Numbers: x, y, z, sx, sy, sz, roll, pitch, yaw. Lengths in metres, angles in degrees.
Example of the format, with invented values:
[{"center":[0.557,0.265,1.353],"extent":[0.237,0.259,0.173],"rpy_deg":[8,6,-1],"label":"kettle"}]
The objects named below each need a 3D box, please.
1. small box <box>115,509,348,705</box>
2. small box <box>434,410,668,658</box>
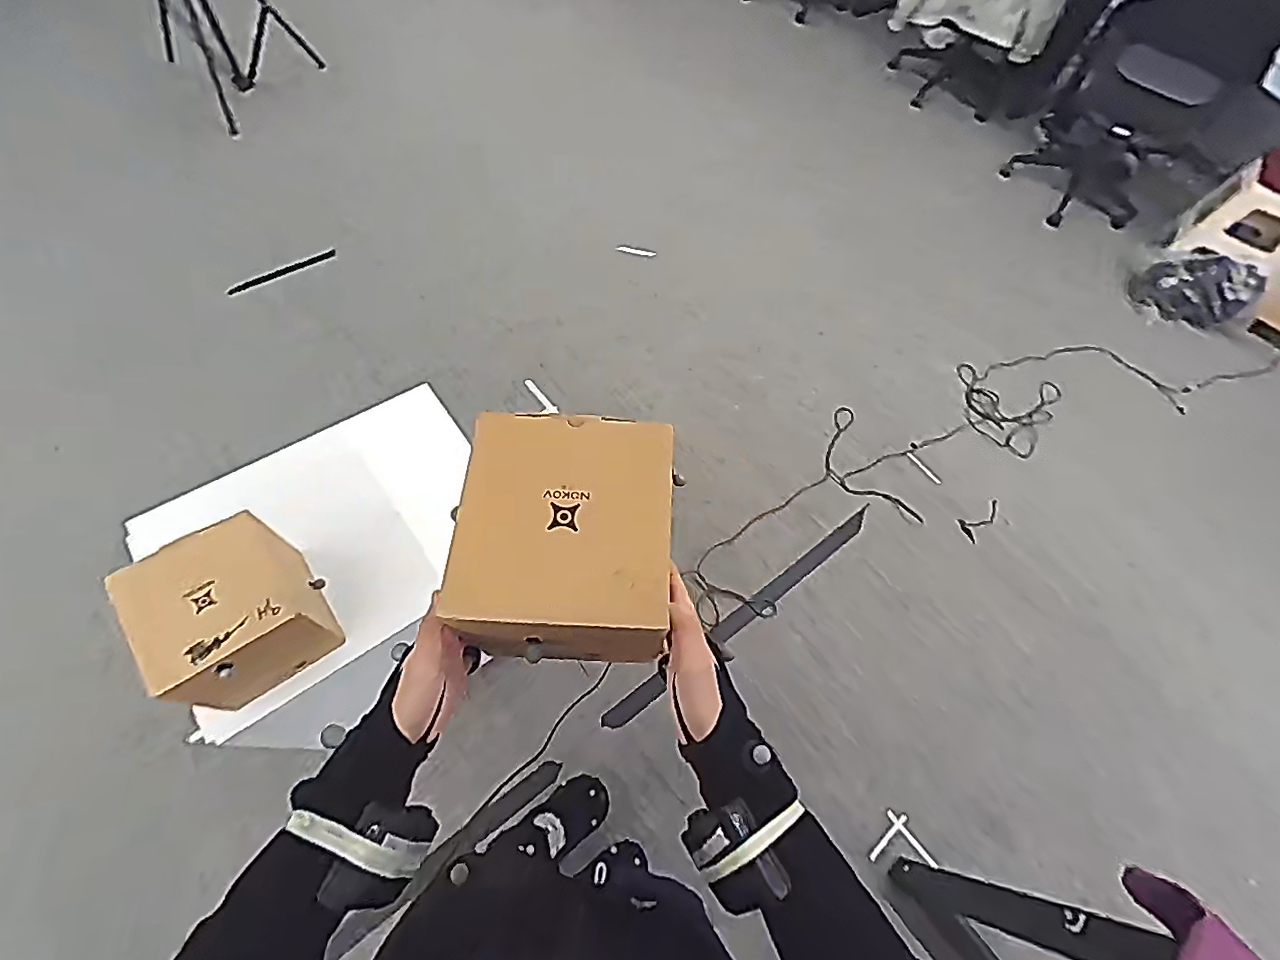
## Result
[{"center":[-0.533,0.176,0.727],"extent":[0.168,0.176,0.179],"rpy_deg":[-32,70,-22],"label":"small box"},{"center":[-0.062,0.058,0.484],"extent":[0.168,0.176,0.179],"rpy_deg":[2,63,-1],"label":"small box"}]
